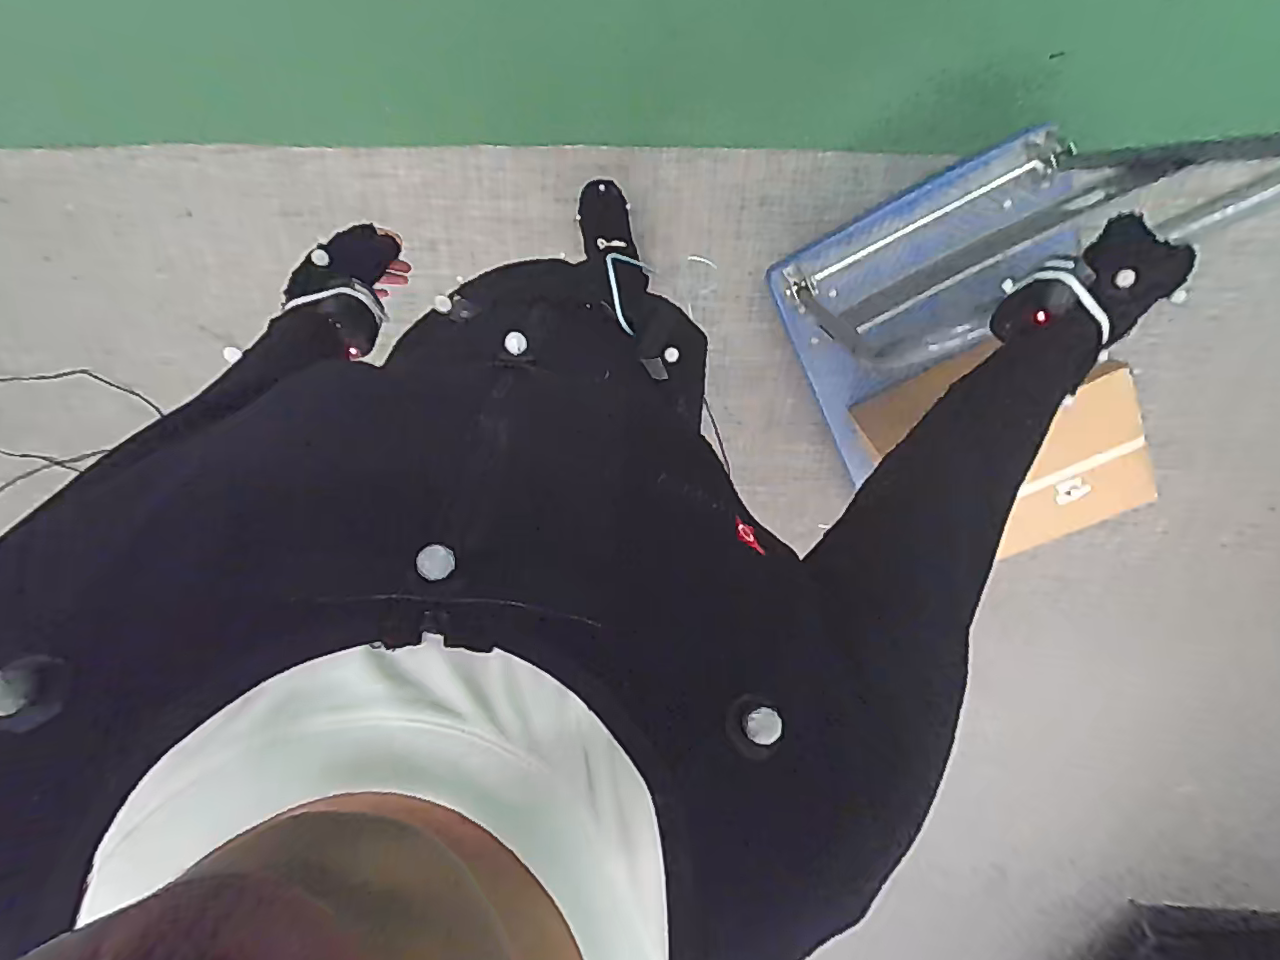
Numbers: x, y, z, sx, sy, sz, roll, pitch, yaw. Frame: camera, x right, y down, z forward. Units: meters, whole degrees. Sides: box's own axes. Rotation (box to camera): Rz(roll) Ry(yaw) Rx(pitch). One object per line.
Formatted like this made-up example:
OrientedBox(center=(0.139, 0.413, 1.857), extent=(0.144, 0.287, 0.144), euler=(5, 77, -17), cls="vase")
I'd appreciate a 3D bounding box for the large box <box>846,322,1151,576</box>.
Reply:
OrientedBox(center=(0.727, -0.072, 1.153), extent=(0.408, 0.320, 0.320), euler=(-29, 116, 17), cls="large box")
